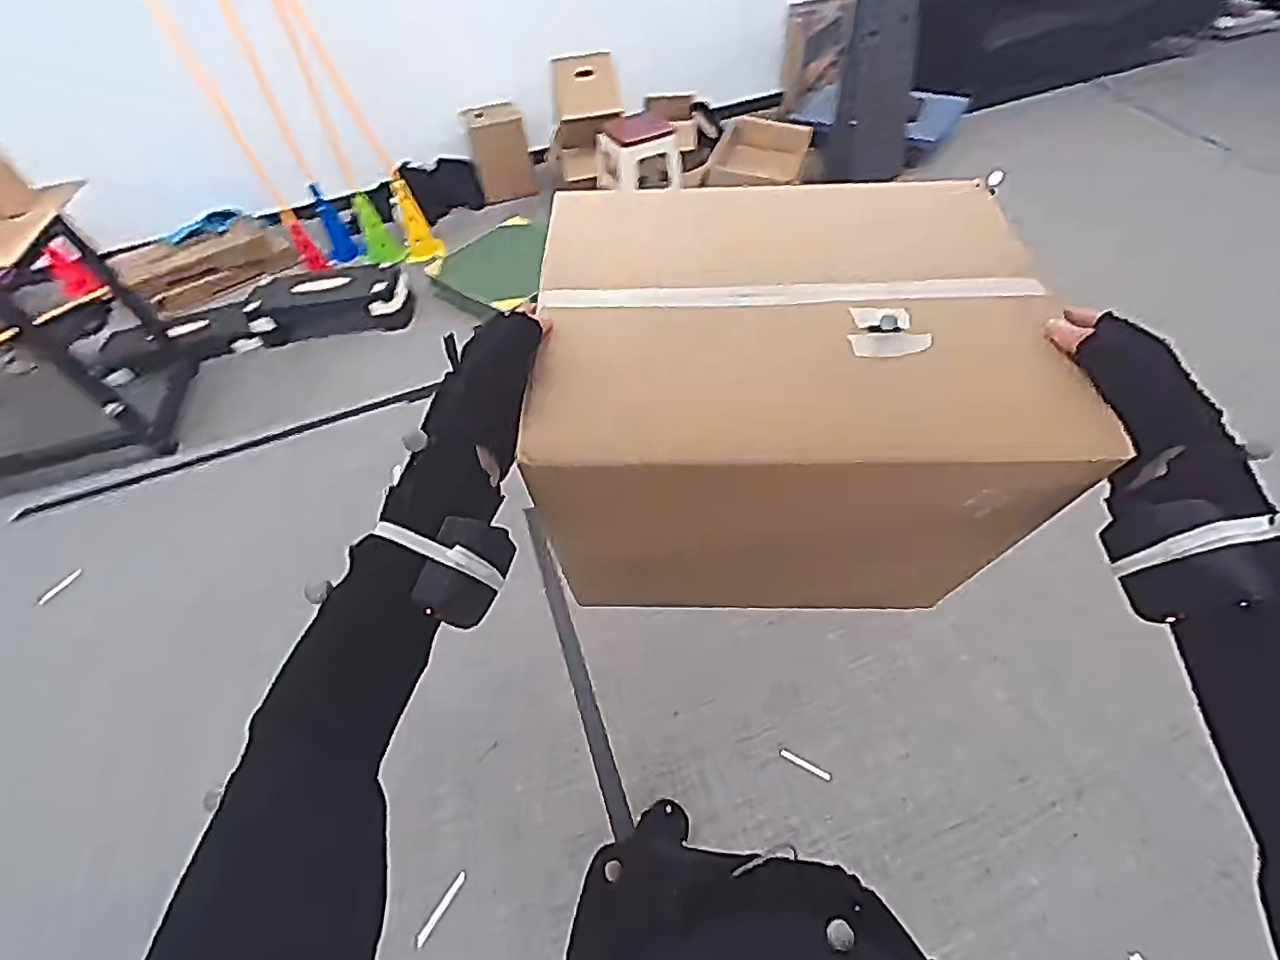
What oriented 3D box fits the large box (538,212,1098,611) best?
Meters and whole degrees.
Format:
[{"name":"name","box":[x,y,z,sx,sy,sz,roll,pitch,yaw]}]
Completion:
[{"name":"large box","box":[0.127,-0.055,0.584,0.408,0.320,0.320,0,59,2]}]
